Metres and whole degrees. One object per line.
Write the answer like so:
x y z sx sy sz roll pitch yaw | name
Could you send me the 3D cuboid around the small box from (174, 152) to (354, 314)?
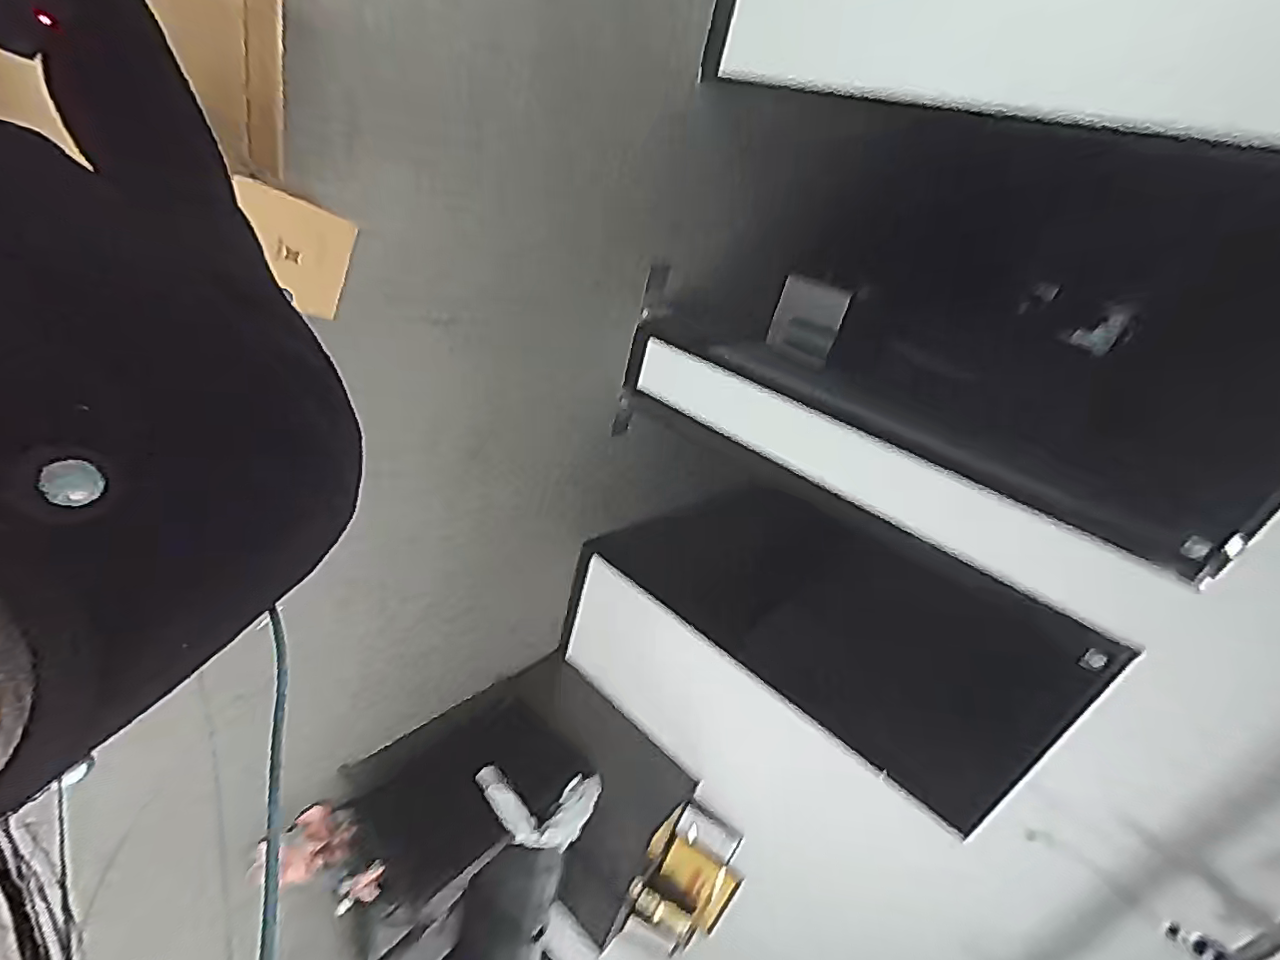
-0.602 -0.392 0.862 0.179 0.176 0.168 4 117 -57 | small box
